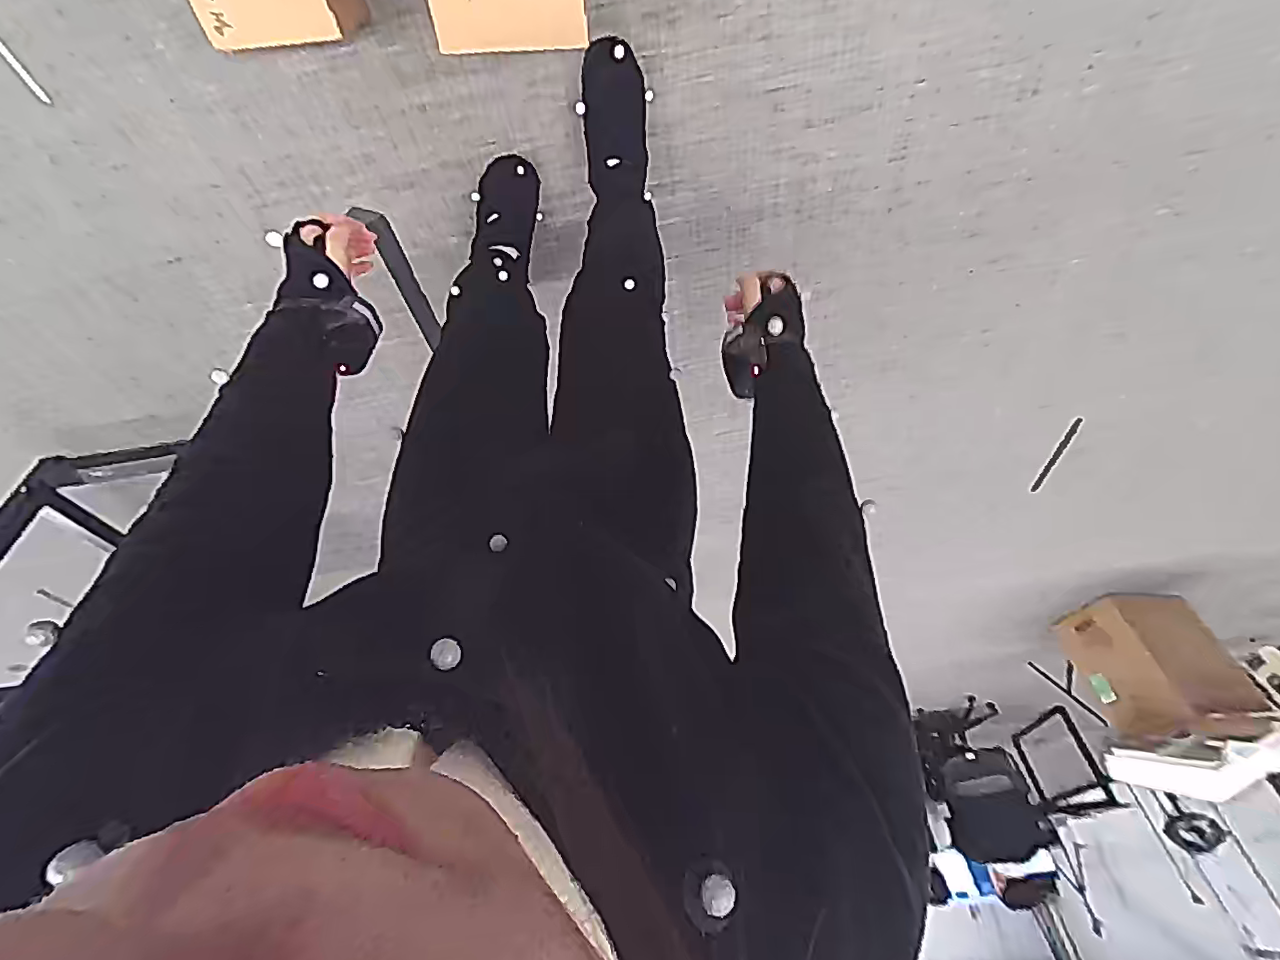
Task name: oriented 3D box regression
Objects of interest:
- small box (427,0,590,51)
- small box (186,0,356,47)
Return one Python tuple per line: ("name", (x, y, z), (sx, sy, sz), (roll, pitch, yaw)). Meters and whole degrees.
("small box", (-0.152, -0.611, 0.613), (0.179, 0.176, 0.168), (-4, 140, -3))
("small box", (-0.499, -0.700, 0.711), (0.179, 0.176, 0.168), (-6, 141, -2))
